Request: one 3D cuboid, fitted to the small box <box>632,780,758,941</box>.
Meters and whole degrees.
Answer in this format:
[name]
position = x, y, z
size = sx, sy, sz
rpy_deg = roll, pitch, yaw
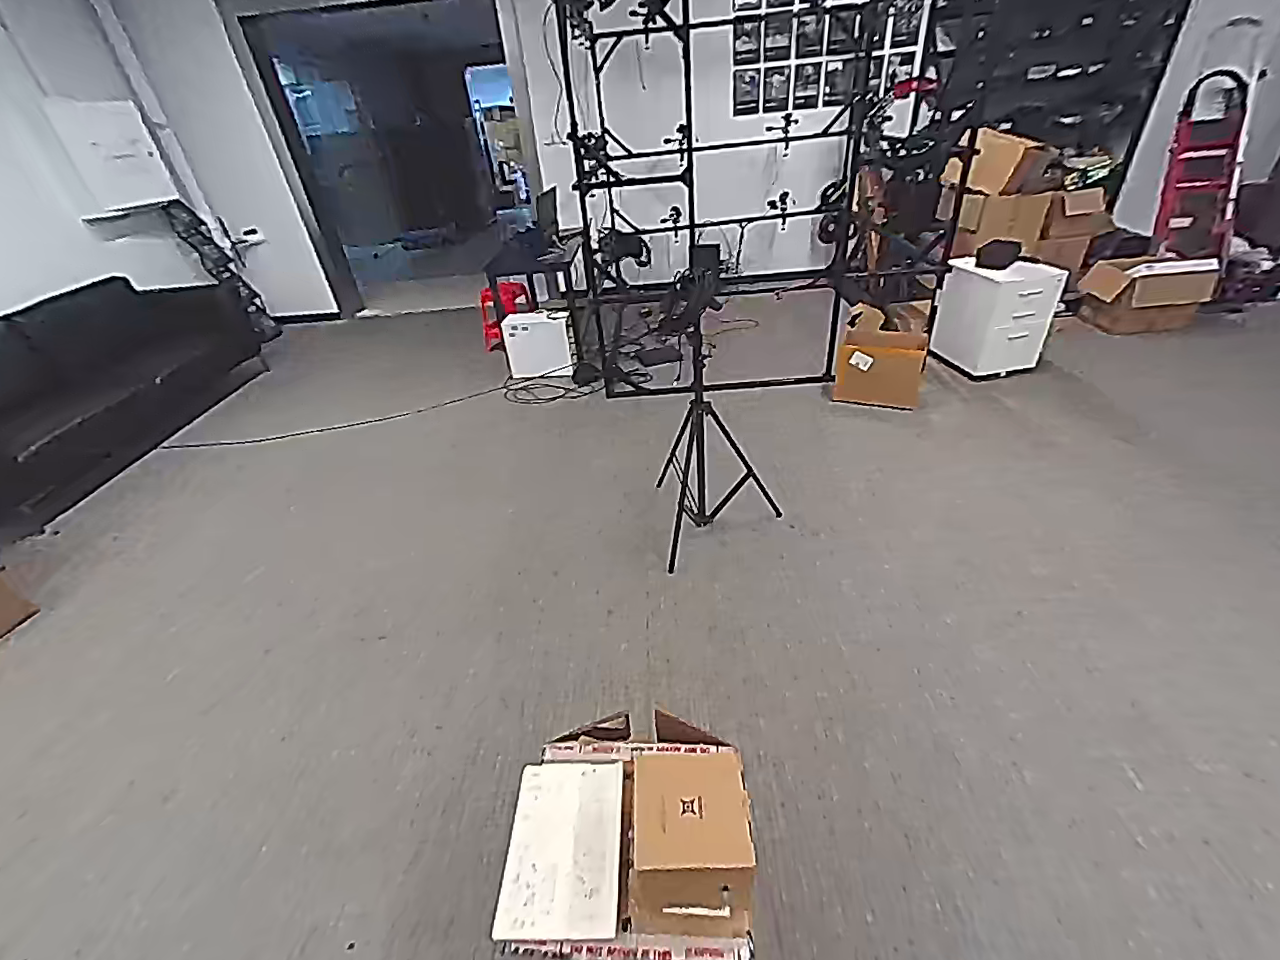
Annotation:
[small box]
position = 0.079, 0.600, 0.854
size = 0.179, 0.176, 0.168
rpy_deg = -4, 35, 1
